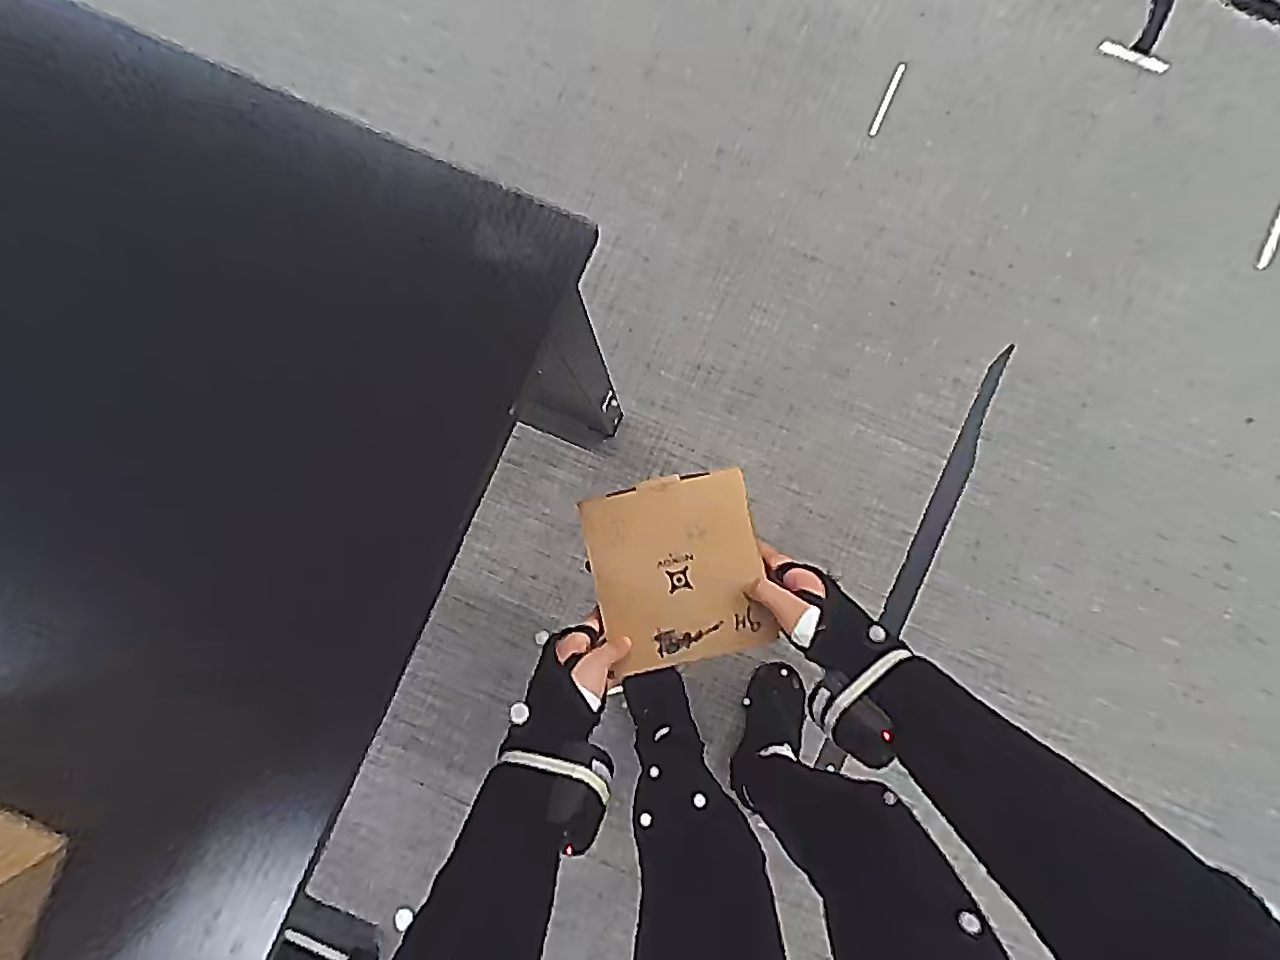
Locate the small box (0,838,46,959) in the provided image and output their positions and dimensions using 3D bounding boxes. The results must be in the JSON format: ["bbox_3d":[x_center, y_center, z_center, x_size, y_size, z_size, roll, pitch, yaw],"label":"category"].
[{"bbox_3d":[-0.448,0.264,0.242,0.168,0.176,0.179,22,89,3],"label":"small box"}]
